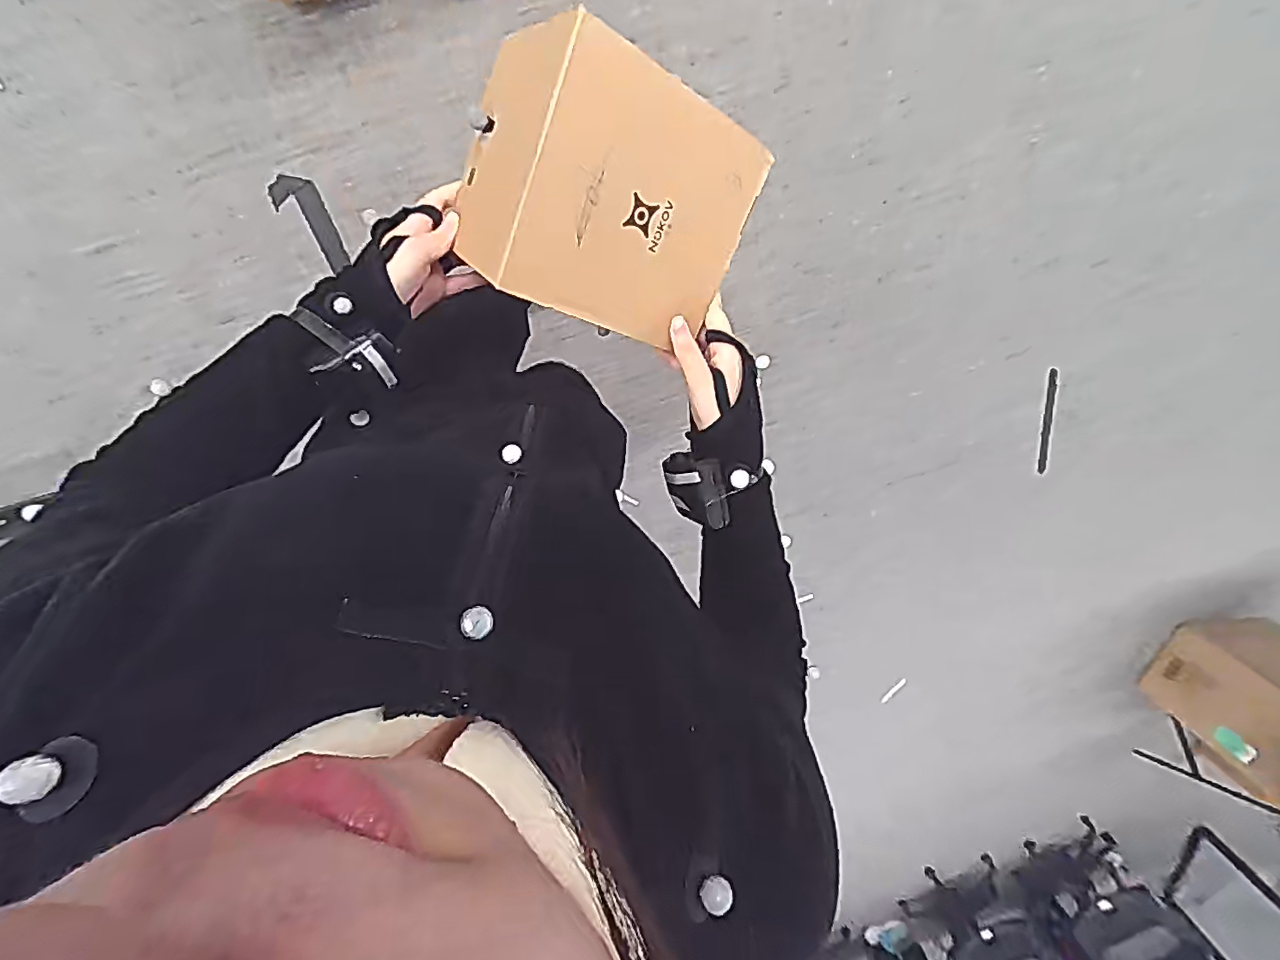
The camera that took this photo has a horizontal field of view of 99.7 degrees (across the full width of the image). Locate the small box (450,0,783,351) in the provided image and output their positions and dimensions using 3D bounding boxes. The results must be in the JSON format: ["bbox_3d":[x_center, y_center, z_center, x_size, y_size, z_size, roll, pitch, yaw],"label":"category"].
[{"bbox_3d":[-0.030,-0.228,0.433,0.179,0.176,0.168,10,114,-37],"label":"small box"}]
